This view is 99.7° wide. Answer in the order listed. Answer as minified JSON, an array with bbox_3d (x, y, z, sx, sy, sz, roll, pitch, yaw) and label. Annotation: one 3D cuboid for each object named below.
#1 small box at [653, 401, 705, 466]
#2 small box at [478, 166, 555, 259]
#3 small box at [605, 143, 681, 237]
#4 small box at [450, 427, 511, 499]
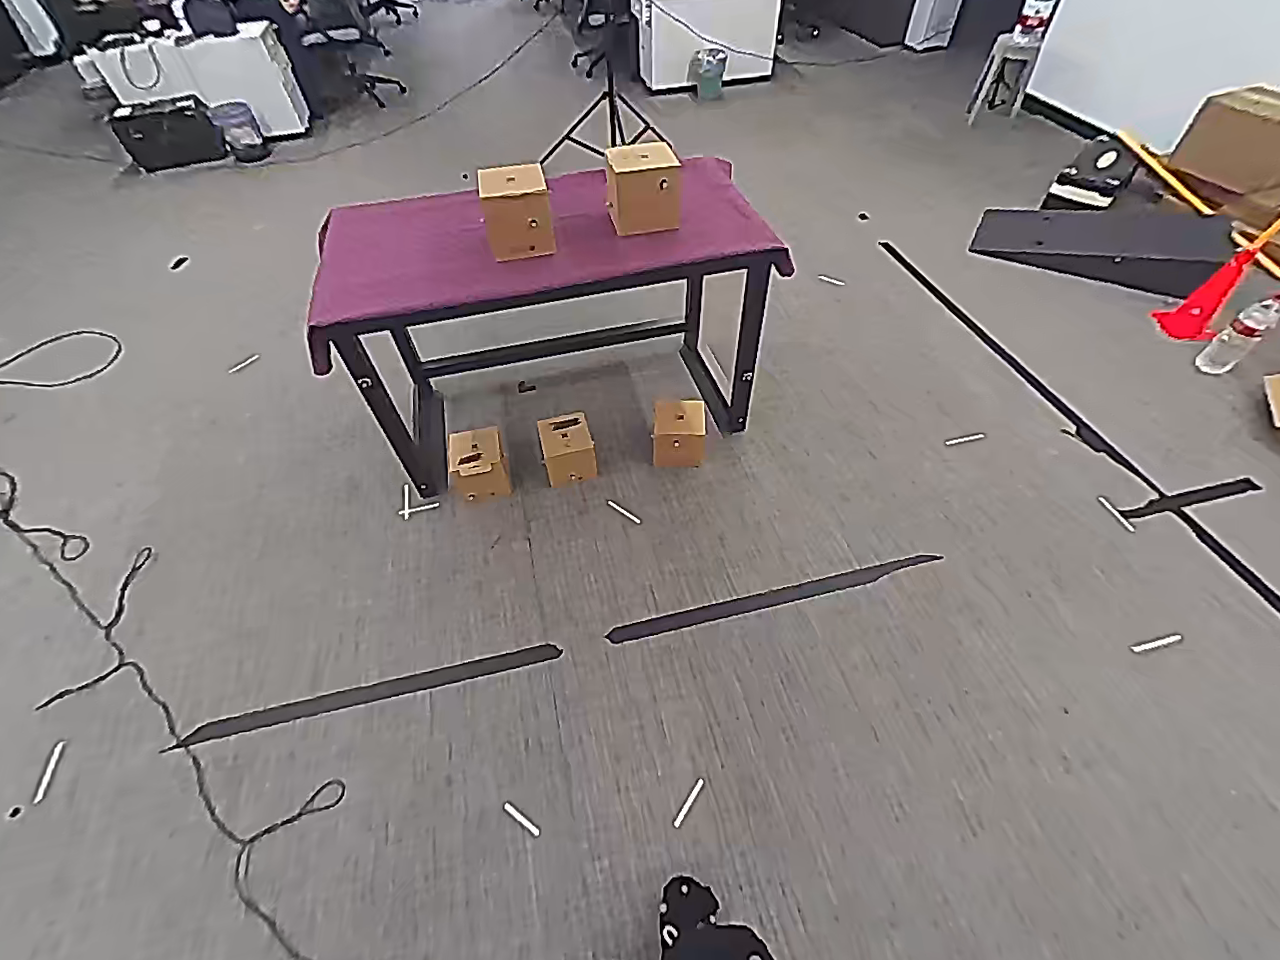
[{"bbox_3d":[0.136,-0.161,1.912,0.179,0.176,0.168,0,52,4],"label":"small box"},{"bbox_3d":[-0.323,-0.699,1.425,0.168,0.176,0.179,-11,50,-8],"label":"small box"},{"bbox_3d":[0.007,-0.795,1.486,0.179,0.176,0.168,-11,51,-6],"label":"small box"},{"bbox_3d":[-0.543,-0.050,1.848,0.168,0.176,0.179,-11,51,-7],"label":"small box"}]
